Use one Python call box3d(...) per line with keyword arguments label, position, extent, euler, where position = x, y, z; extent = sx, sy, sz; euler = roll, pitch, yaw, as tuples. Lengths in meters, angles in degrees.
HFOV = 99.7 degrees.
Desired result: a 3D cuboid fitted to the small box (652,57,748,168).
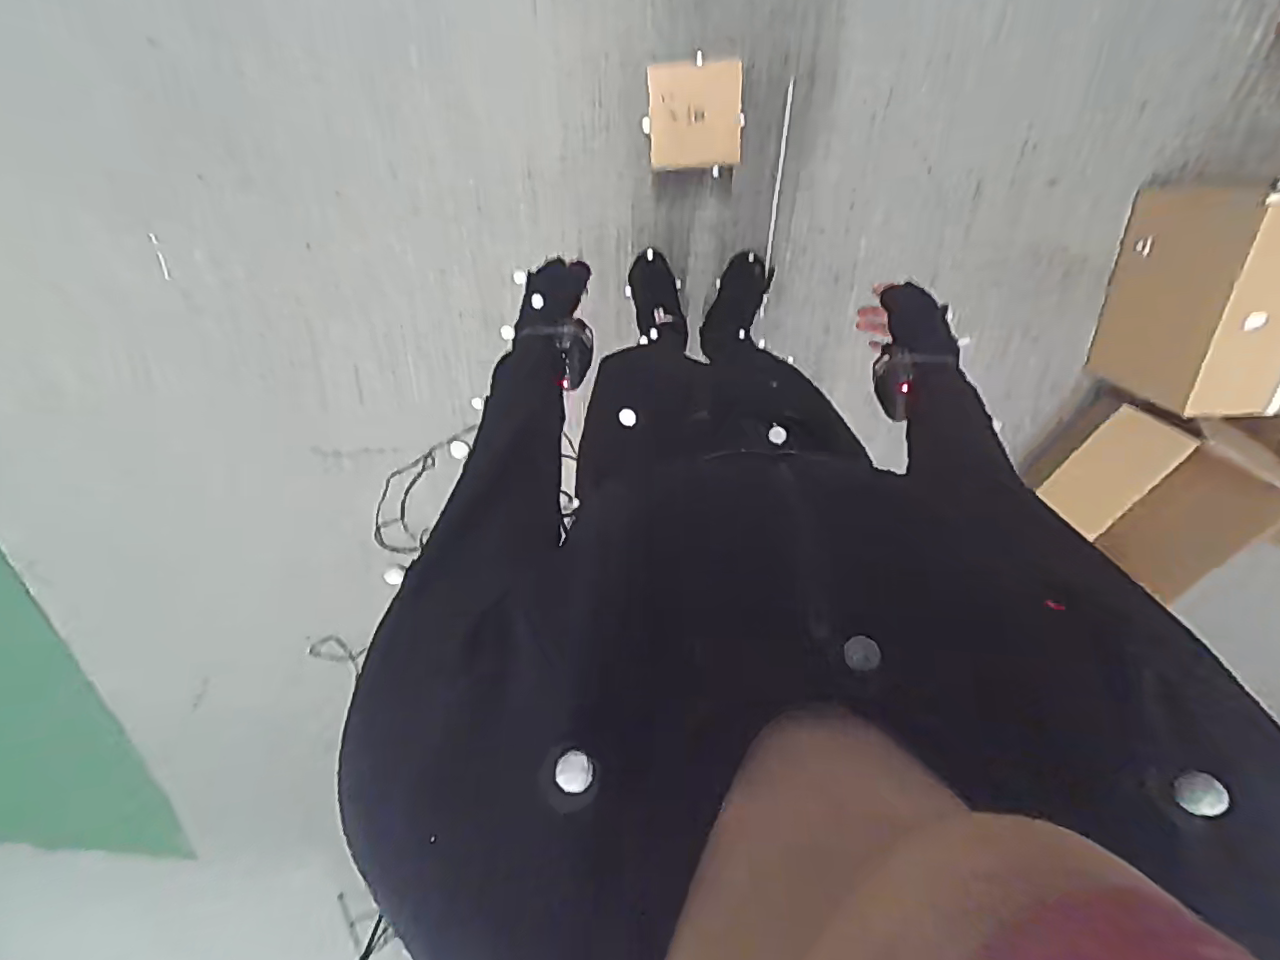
box3d(label="small box", position=(0.115, -0.725, 1.080), extent=(0.179, 0.176, 0.168), euler=(-1, 118, 5))
